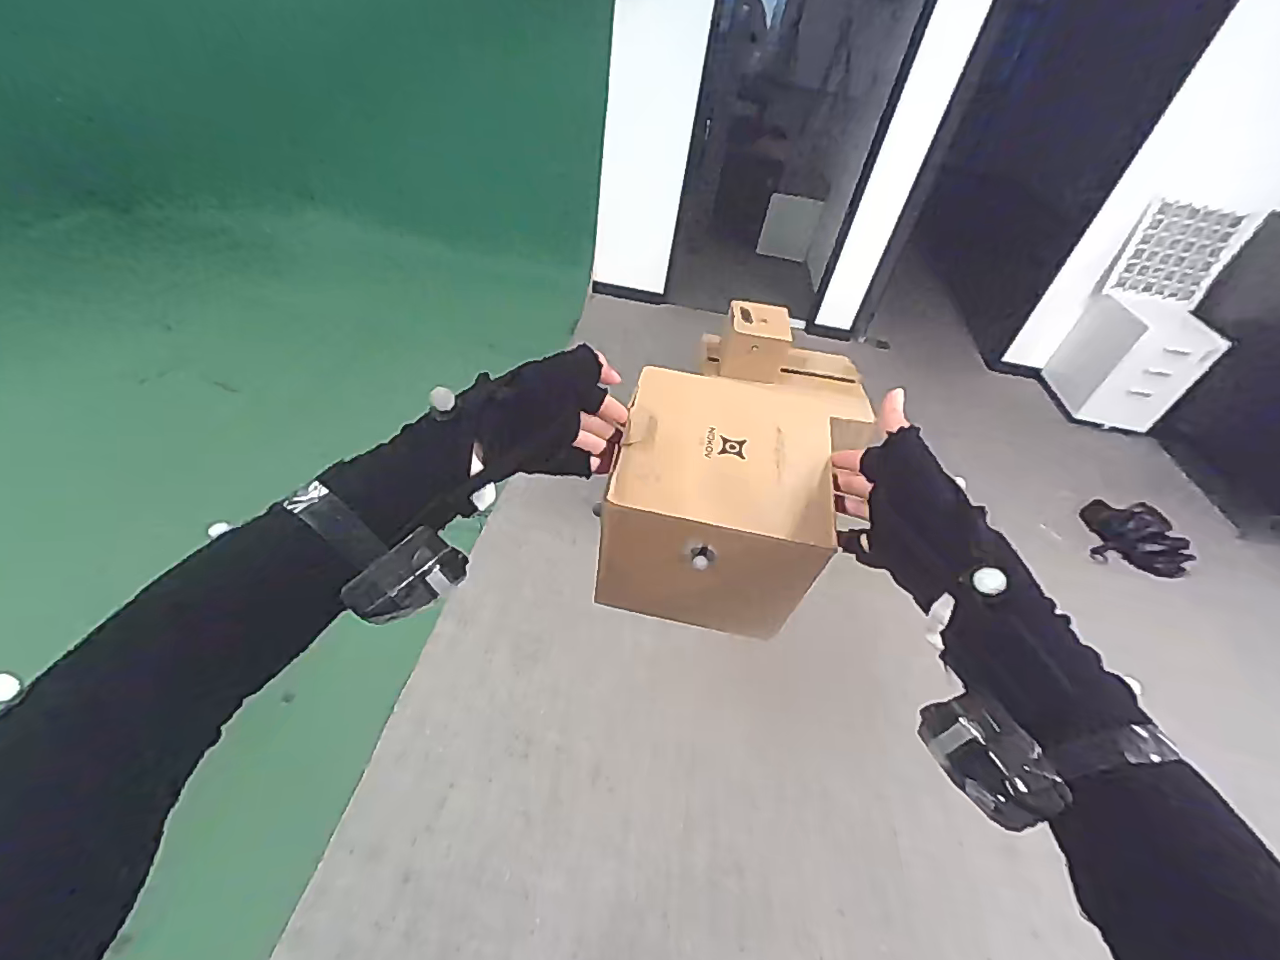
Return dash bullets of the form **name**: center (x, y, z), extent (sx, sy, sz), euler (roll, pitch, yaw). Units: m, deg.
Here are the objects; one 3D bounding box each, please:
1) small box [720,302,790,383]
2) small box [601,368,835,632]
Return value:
- **small box**: center (0.347, -0.422, 1.677), extent (0.179, 0.176, 0.168), euler (9, 51, -4)
- **small box**: center (0.064, 0.024, 0.512), extent (0.179, 0.176, 0.168), euler (12, 51, 1)
